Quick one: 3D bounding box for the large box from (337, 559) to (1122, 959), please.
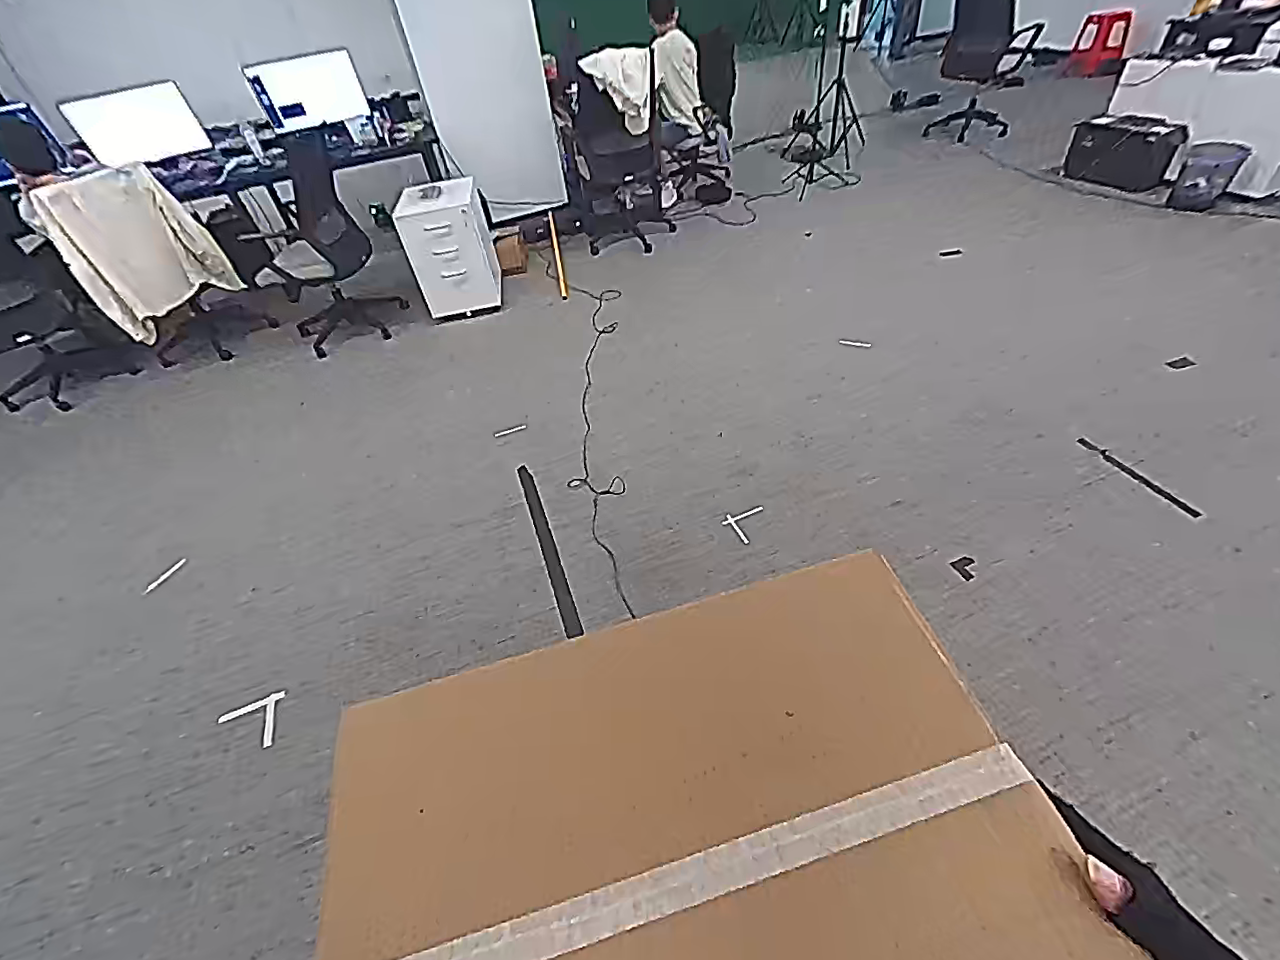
[{"bbox_3d":[0.043,0.318,0.424,0.408,0.320,0.320,-16,50,-5],"label":"large box"}]
